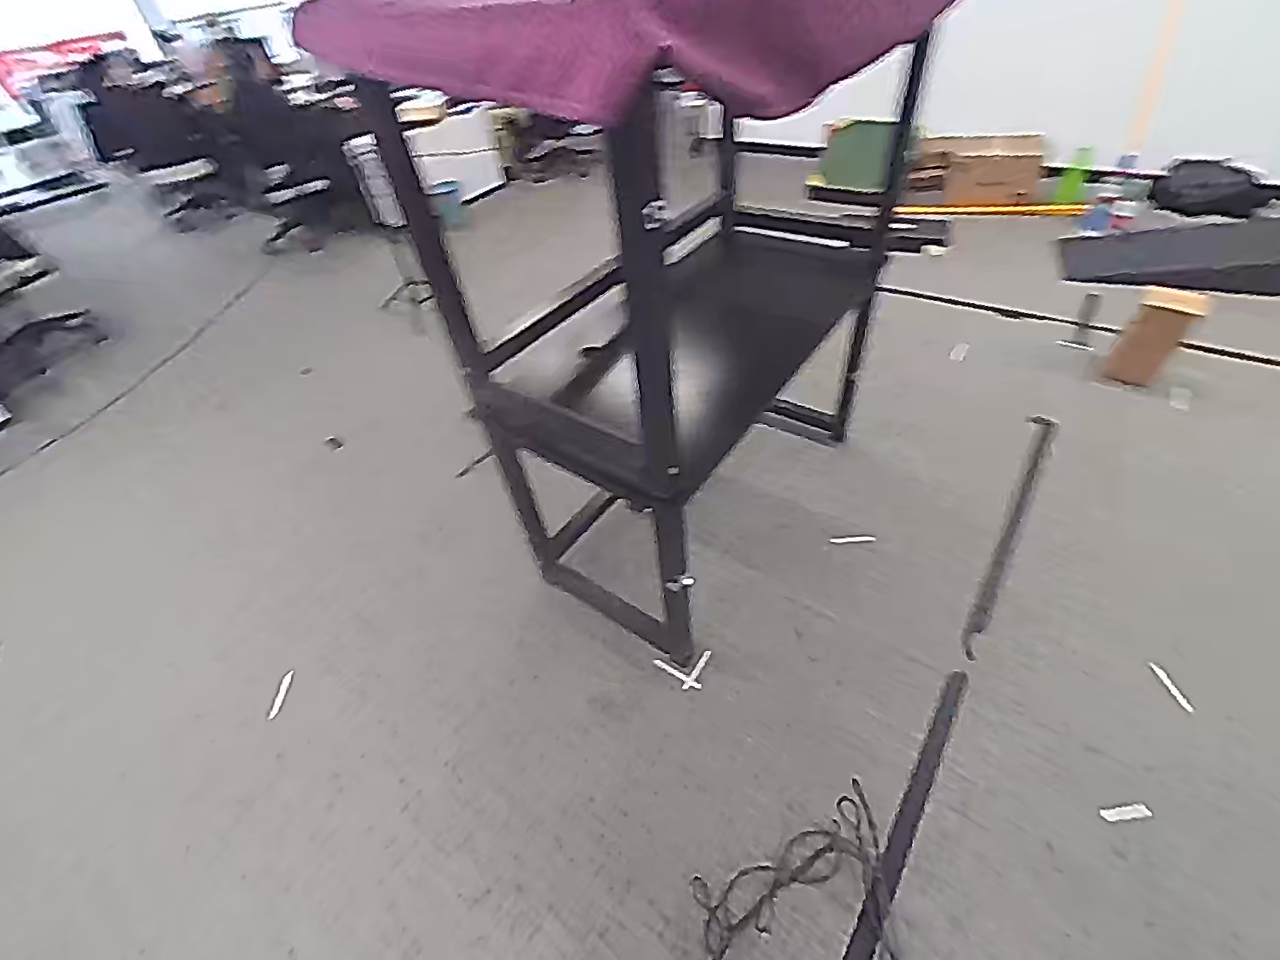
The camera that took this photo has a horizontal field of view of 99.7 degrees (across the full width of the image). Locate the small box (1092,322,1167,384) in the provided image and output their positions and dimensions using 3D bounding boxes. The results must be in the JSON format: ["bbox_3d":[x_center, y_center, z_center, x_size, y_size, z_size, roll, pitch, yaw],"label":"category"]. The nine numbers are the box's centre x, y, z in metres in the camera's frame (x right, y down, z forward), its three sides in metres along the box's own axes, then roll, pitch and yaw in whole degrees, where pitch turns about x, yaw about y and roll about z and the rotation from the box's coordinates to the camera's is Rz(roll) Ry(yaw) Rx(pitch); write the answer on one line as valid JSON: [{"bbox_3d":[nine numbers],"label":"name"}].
[{"bbox_3d":[2.012,-0.517,2.219,0.179,0.176,0.168,26,55,27],"label":"small box"}]

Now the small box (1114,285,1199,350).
[{"bbox_3d":[2.000,-0.626,2.097,0.179,0.176,0.168,28,55,30],"label":"small box"}]
